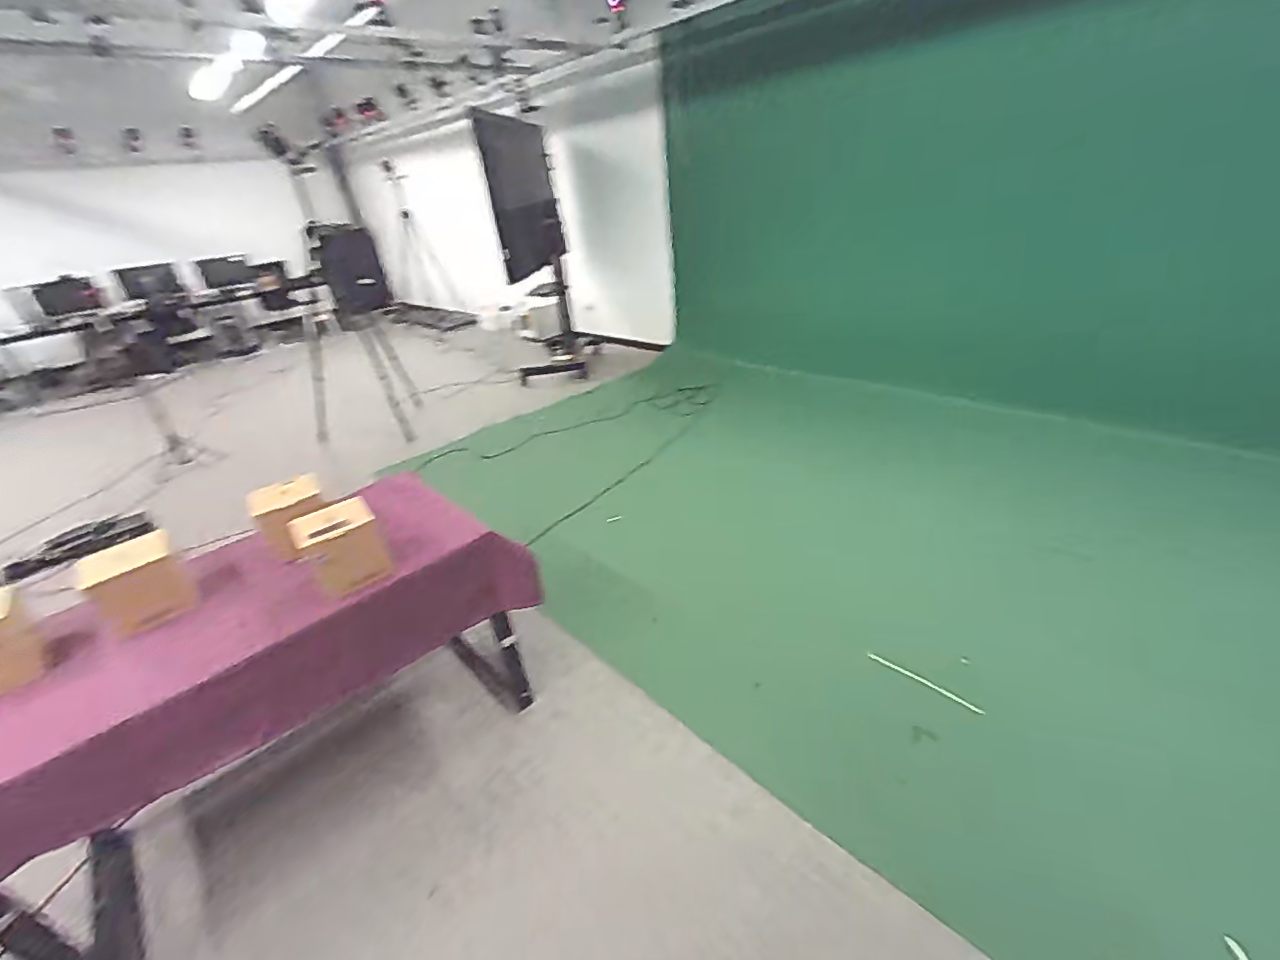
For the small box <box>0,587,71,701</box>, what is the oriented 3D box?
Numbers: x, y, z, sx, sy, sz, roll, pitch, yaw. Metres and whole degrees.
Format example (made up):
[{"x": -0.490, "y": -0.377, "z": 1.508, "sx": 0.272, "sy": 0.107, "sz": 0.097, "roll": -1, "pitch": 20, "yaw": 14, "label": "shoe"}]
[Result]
[{"x": -1.425, "y": 0.376, "z": 1.201, "sx": 0.179, "sy": 0.176, "sz": 0.168, "roll": -28, "pitch": 35, "yaw": -33, "label": "small box"}]

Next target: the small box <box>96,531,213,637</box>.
[{"x": -1.221, "y": 0.261, "z": 1.366, "sx": 0.168, "sy": 0.176, "sz": 0.179, "roll": -29, "pitch": 36, "yaw": -32, "label": "small box"}]

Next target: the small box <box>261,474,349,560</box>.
[{"x": -0.972, "y": 0.110, "z": 1.574, "sx": 0.168, "sy": 0.176, "sz": 0.179, "roll": -24, "pitch": 34, "yaw": -29, "label": "small box"}]
